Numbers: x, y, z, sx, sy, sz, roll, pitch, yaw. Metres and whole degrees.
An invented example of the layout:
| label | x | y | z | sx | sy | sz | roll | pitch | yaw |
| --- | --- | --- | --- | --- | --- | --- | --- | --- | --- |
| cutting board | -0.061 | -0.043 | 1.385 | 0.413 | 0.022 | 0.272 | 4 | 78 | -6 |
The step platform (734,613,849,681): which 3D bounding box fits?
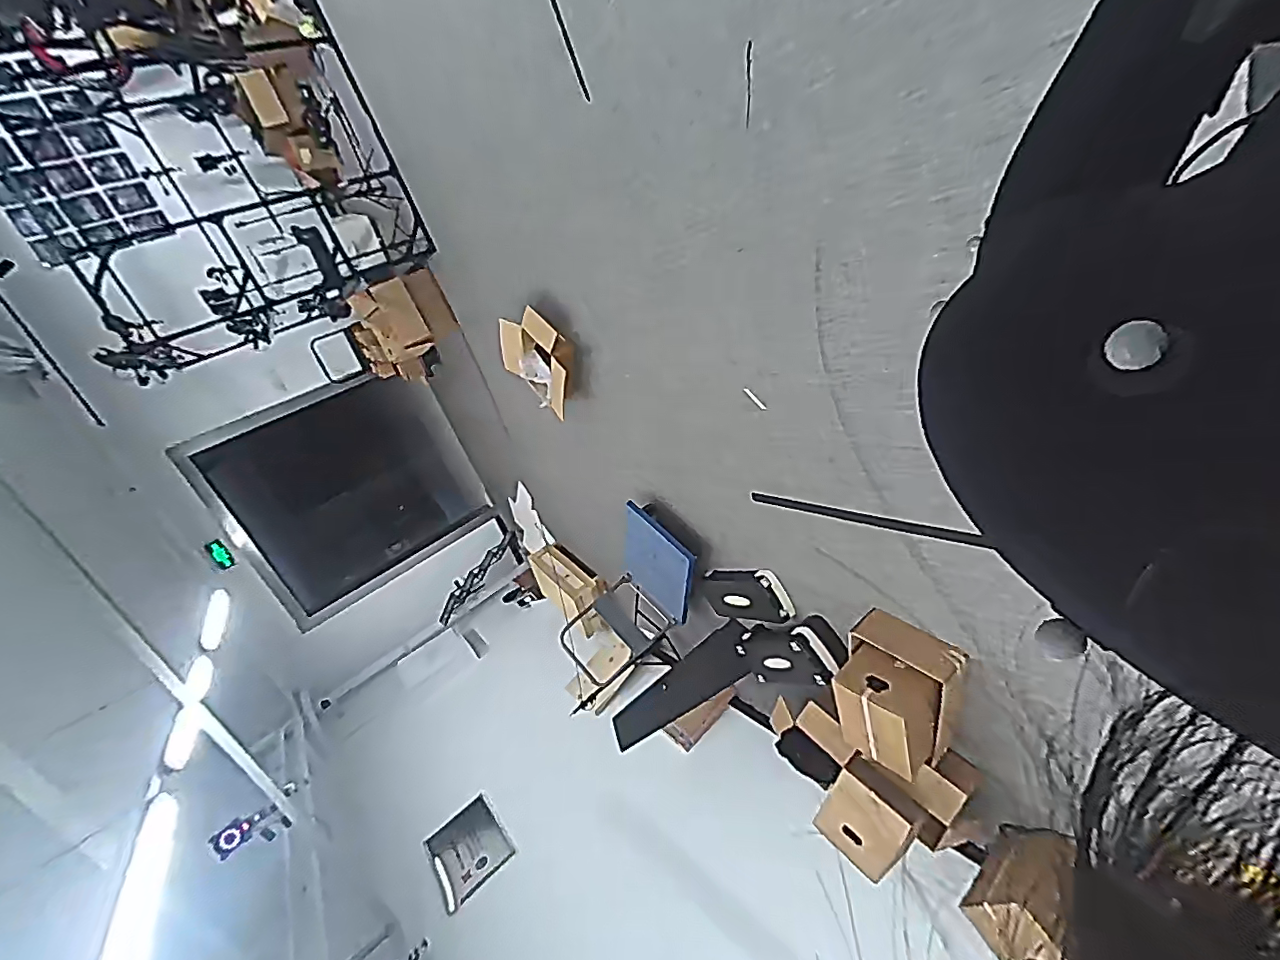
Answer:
| label | x | y | z | sx | sy | sz | roll | pitch | yaw |
| --- | --- | --- | --- | --- | --- | --- | --- | --- | --- |
| step platform | 0.787 | 0.918 | 2.922 | 0.286 | 0.204 | 0.684 | 54 | 153 | 4 |
